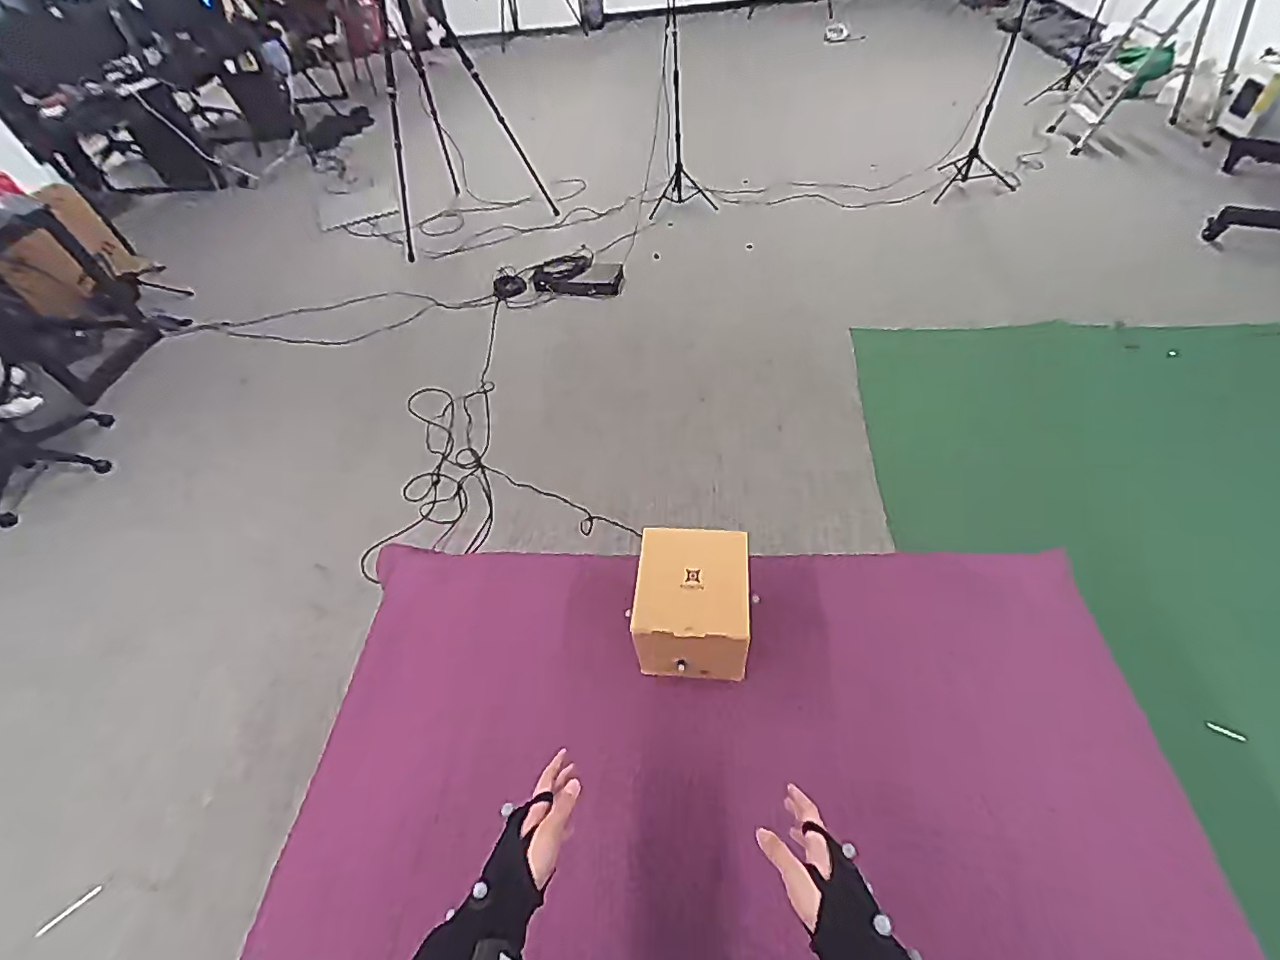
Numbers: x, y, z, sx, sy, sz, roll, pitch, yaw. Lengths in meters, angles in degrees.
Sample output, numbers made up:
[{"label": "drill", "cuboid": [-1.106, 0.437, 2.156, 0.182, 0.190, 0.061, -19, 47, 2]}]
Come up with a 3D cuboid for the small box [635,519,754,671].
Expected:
[{"label": "small box", "cuboid": [0.088, 0.181, 0.853, 0.168, 0.176, 0.179, 2, 53, 7]}]
